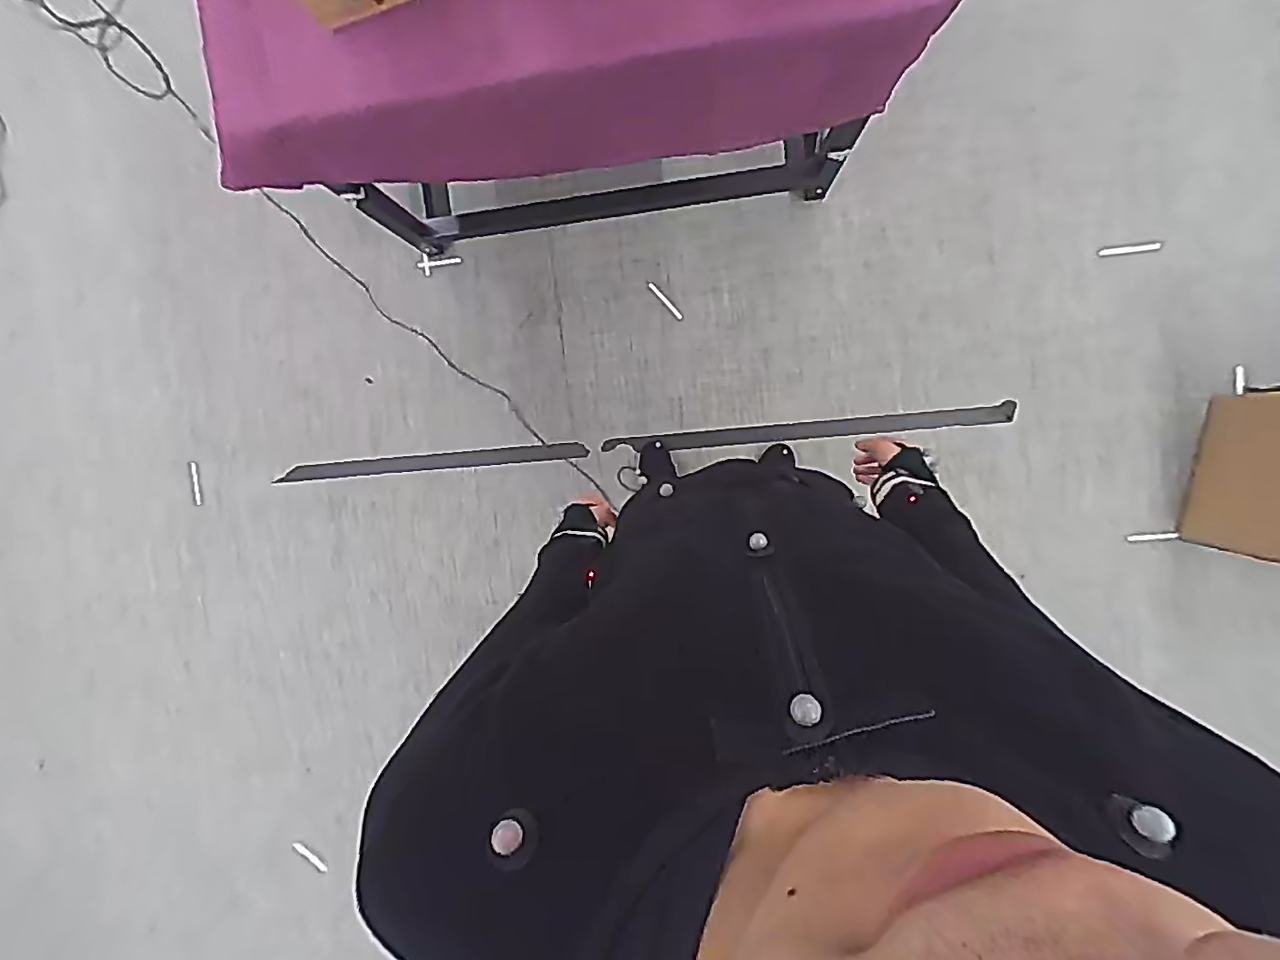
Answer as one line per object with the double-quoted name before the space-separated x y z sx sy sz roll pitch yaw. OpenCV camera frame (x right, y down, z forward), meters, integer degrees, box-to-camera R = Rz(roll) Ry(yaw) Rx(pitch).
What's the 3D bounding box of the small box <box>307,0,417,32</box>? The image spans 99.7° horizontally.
"small box" -0.463 -0.836 0.805 0.168 0.176 0.179 -14 93 6
